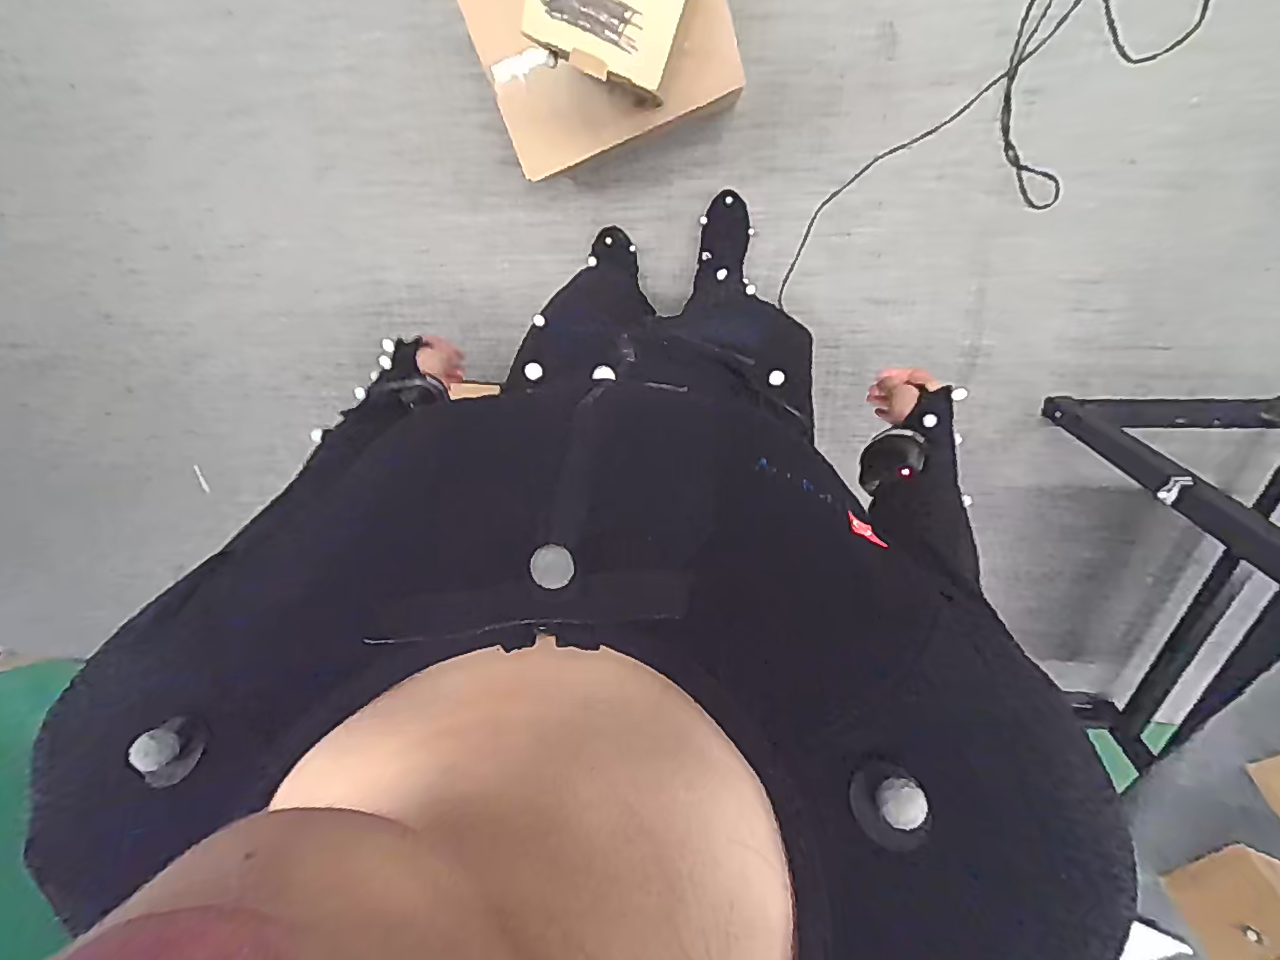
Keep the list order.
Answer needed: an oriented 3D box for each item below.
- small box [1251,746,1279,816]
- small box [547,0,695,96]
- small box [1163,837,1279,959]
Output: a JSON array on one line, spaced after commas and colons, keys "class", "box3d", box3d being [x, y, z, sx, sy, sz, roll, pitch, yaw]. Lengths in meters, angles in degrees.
[{"class": "small box", "box3d": [1.139, 0.524, 0.852, 0.179, 0.176, 0.168, -37, 111, 23]}, {"class": "small box", "box3d": [-0.016, -0.680, 0.773, 0.168, 0.176, 0.179, 20, 122, -6]}, {"class": "small box", "box3d": [1.162, 0.821, 1.023, 0.168, 0.176, 0.179, 26, 118, -10]}]
